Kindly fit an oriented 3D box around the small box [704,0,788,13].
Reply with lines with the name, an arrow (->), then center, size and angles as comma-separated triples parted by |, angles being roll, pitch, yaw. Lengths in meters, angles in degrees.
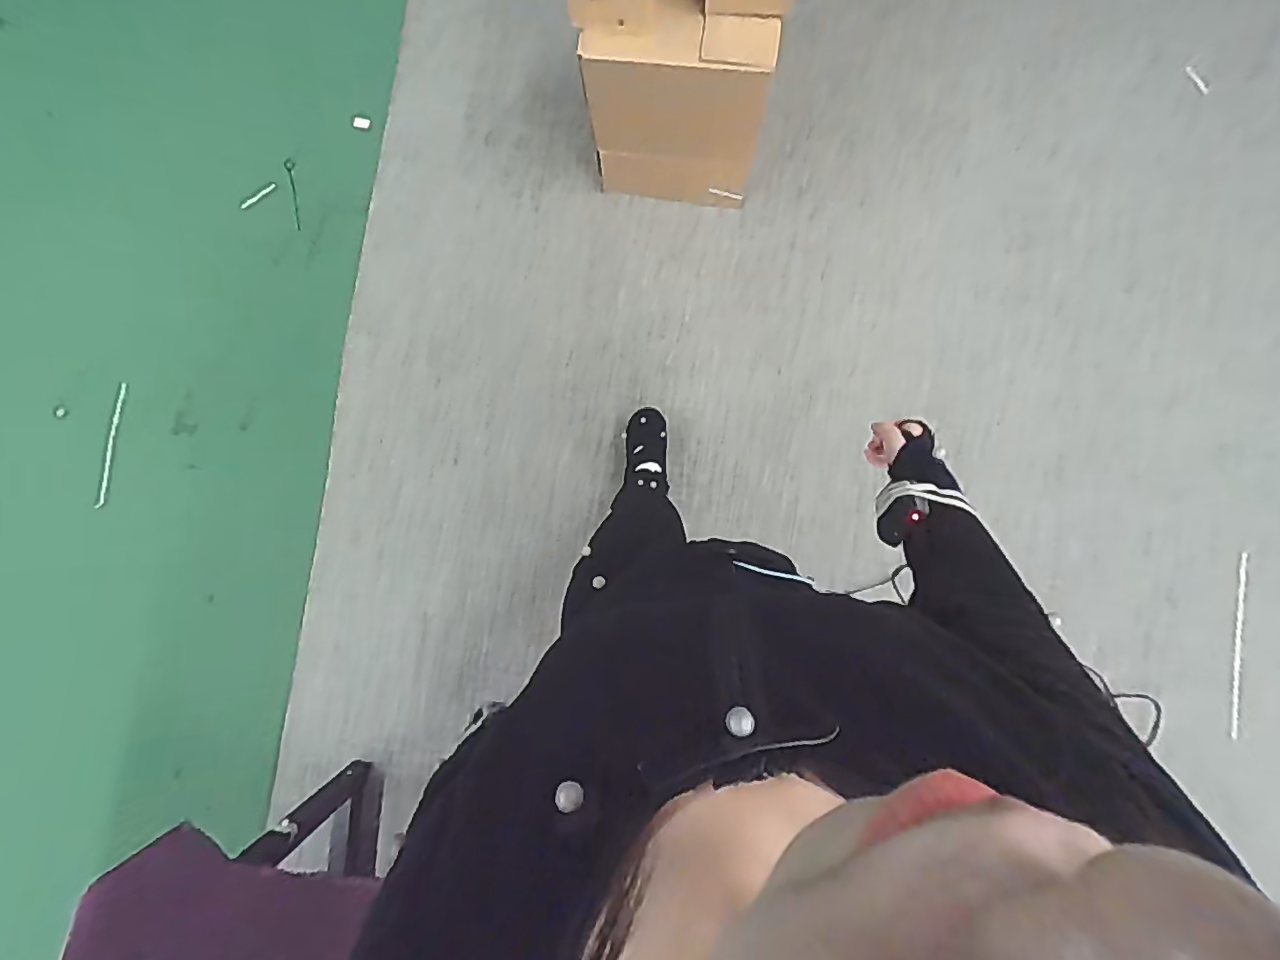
small box -> 0.220, -1.030, 1.016 | 0.179, 0.176, 0.168 | 7, 85, 4
